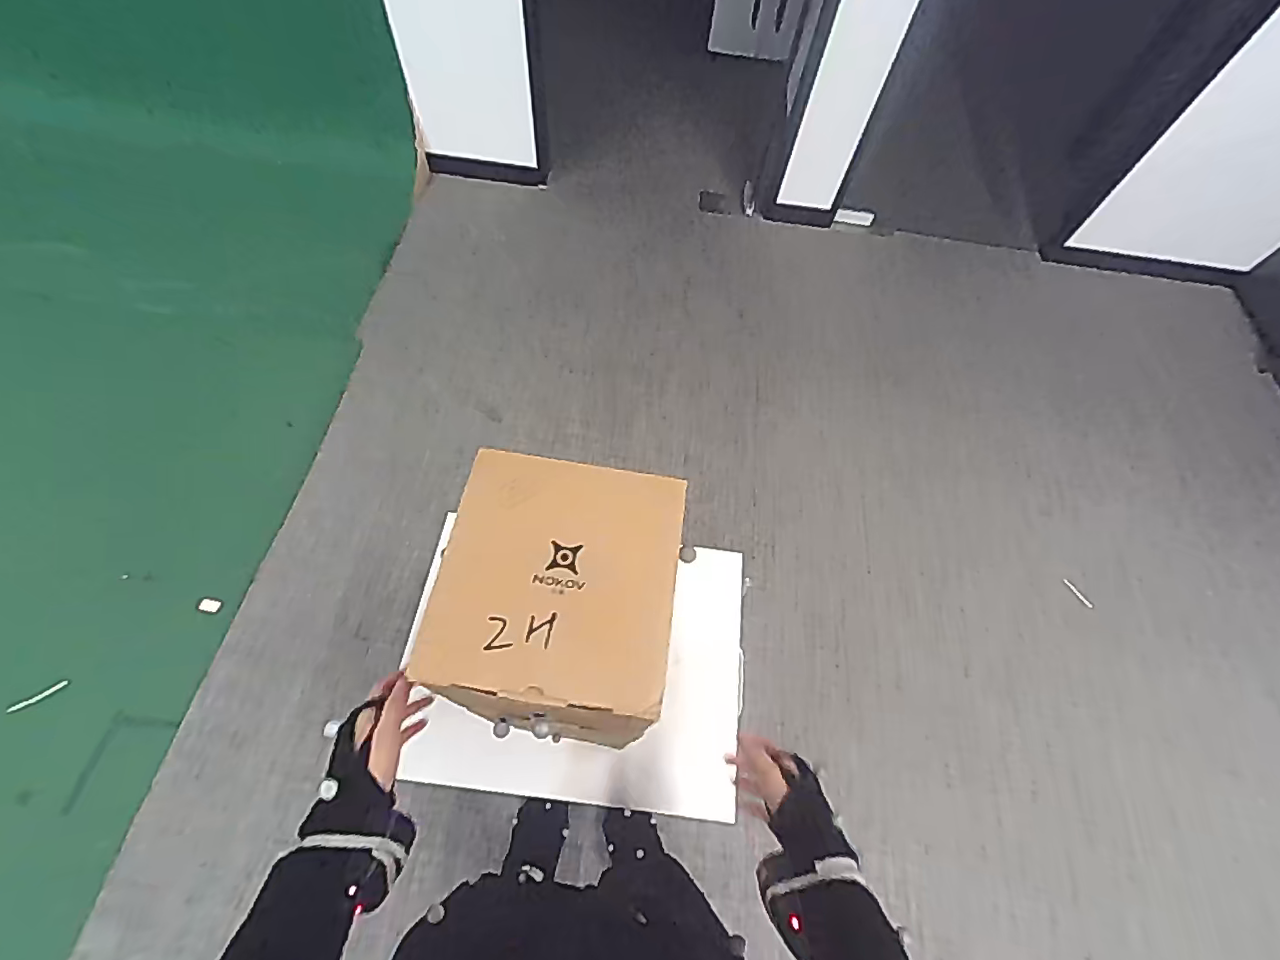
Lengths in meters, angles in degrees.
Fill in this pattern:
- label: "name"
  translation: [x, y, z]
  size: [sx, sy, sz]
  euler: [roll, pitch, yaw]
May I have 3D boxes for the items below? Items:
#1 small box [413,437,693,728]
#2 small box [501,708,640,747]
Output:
- label: "small box"
  translation: [-0.057, 0.092, 0.444]
  size: [0.168, 0.176, 0.179]
  euler: [9, 61, 0]
- label: "small box"
  translation: [-0.076, 0.250, 0.733]
  size: [0.168, 0.176, 0.179]
  euler: [10, 60, 1]
